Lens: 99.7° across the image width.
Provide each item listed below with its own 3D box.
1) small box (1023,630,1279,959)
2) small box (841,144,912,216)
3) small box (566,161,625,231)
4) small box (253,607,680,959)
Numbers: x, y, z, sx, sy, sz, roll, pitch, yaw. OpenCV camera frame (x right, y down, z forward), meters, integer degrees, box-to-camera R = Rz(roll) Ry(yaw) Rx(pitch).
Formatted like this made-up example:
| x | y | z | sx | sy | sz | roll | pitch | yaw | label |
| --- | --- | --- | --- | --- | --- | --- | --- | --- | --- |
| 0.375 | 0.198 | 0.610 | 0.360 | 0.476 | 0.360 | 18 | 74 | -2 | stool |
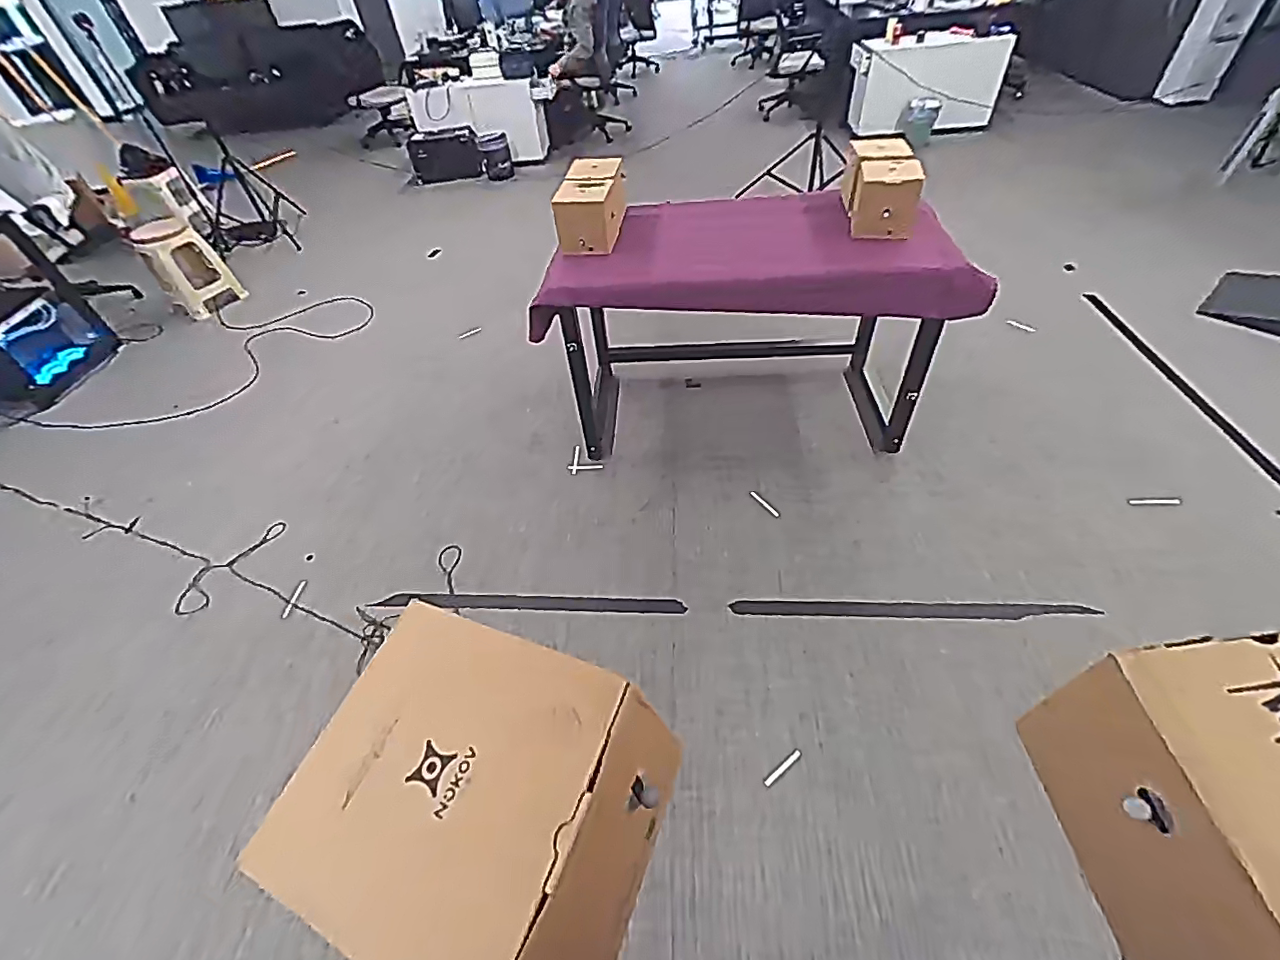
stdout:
| x | y | z | sx | sy | sz | roll | pitch | yaw | label |
| --- | --- | --- | --- | --- | --- | --- | --- | --- | --- |
| 0.376 | 0.204 | 0.322 | 0.168 | 0.176 | 0.179 | -11 | 52 | 6 | small box |
| 0.768 | -0.985 | 1.775 | 0.168 | 0.176 | 0.179 | 3 | 47 | 8 | small box |
| -0.146 | -0.979 | 1.865 | 0.168 | 0.176 | 0.179 | 2 | 48 | 8 | small box |
| -0.087 | 0.213 | 0.361 | 0.179 | 0.176 | 0.168 | 9 | 55 | 25 | small box |
